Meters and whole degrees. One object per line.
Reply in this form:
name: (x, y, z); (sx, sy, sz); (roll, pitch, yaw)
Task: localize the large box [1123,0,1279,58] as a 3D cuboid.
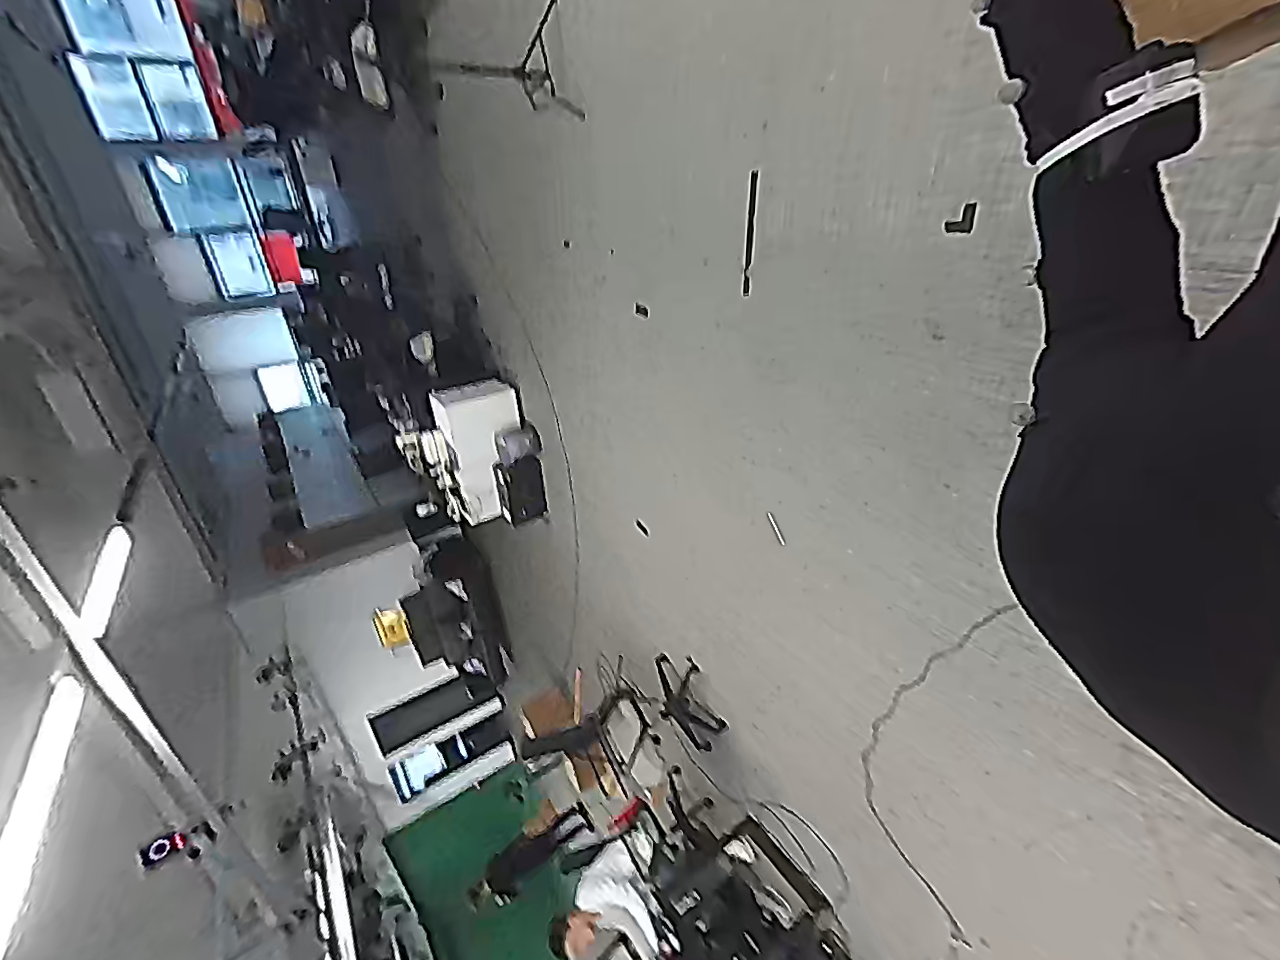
large box: (0.503, -0.503, 0.261); (0.408, 0.320, 0.320); (-5, 110, 56)
